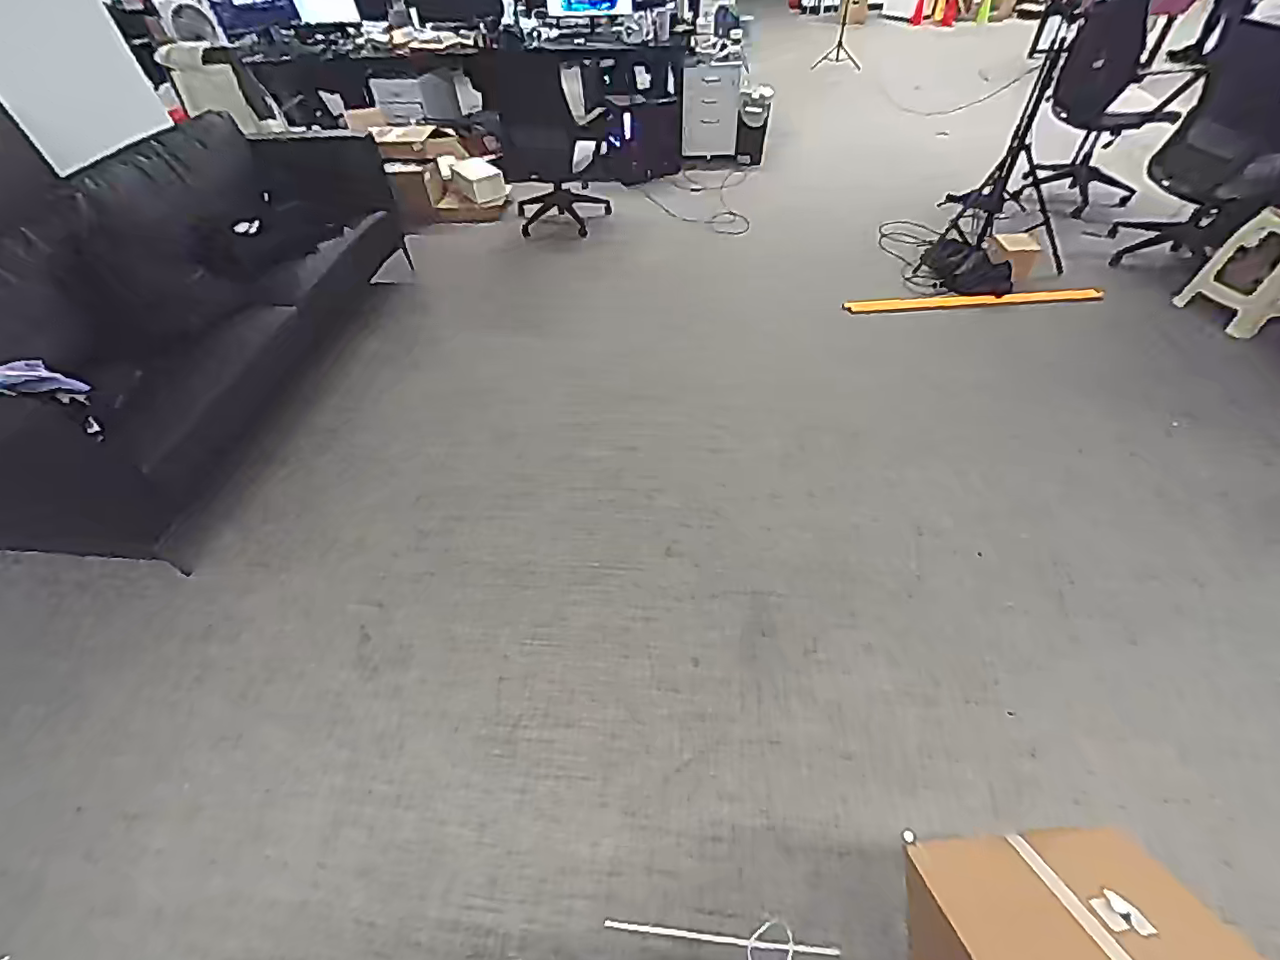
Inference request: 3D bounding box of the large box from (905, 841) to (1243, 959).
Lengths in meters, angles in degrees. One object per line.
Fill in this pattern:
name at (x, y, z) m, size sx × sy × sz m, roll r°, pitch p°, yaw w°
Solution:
large box at (0.559, 0.716, 0.619) m, size 0.320 × 0.320 × 0.408 m, roll -4°, pitch 6°, yaw 1°
